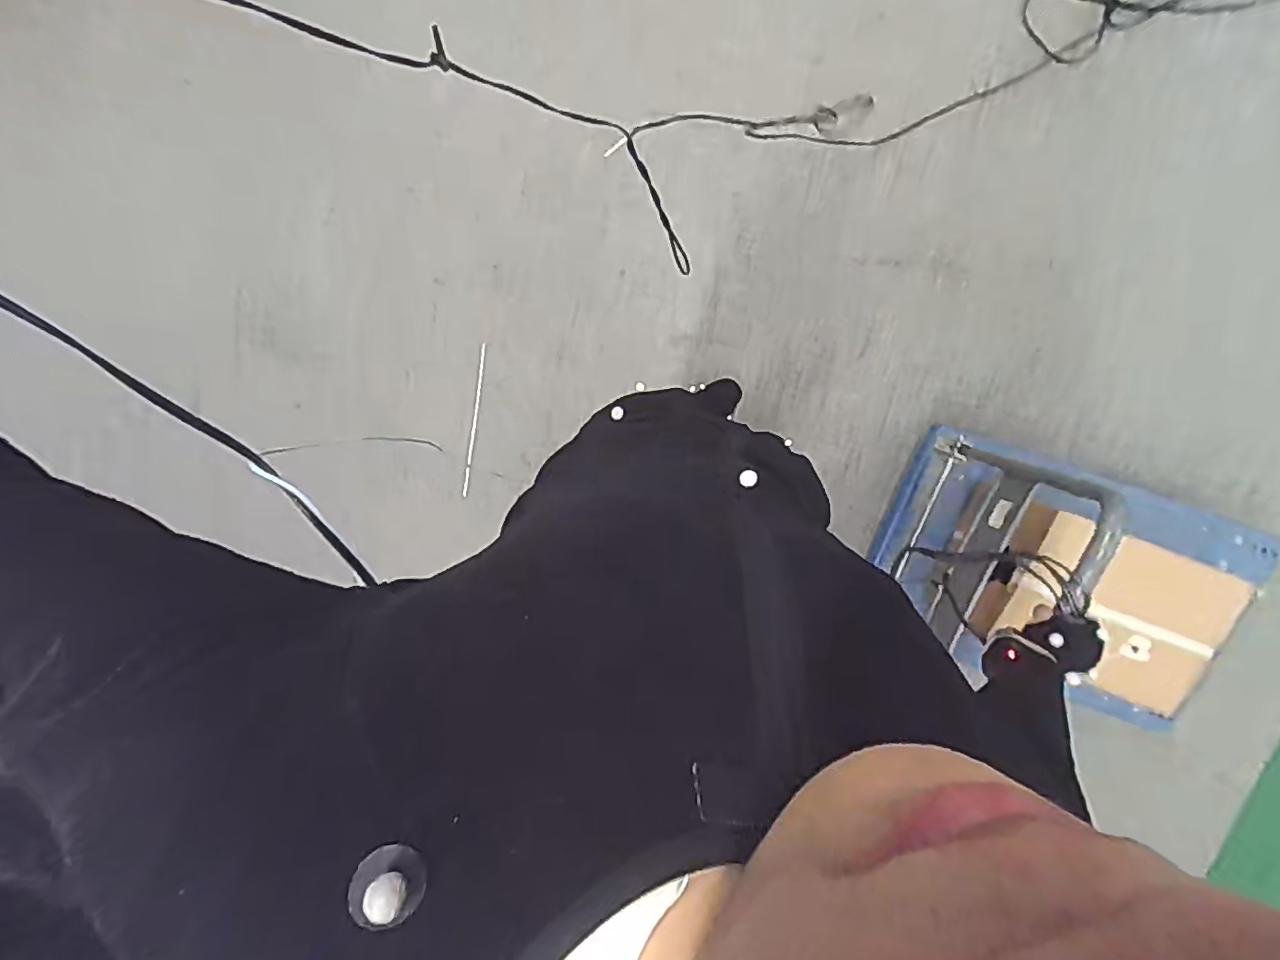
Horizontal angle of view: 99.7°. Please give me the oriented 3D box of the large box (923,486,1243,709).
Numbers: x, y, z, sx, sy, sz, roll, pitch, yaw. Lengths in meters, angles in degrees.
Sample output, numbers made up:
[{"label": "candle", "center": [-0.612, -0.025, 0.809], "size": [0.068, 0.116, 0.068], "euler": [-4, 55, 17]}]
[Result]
[{"label": "large box", "center": [0.953, 0.240, 1.234], "size": [0.408, 0.320, 0.320], "euler": [21, 103, 2]}]
